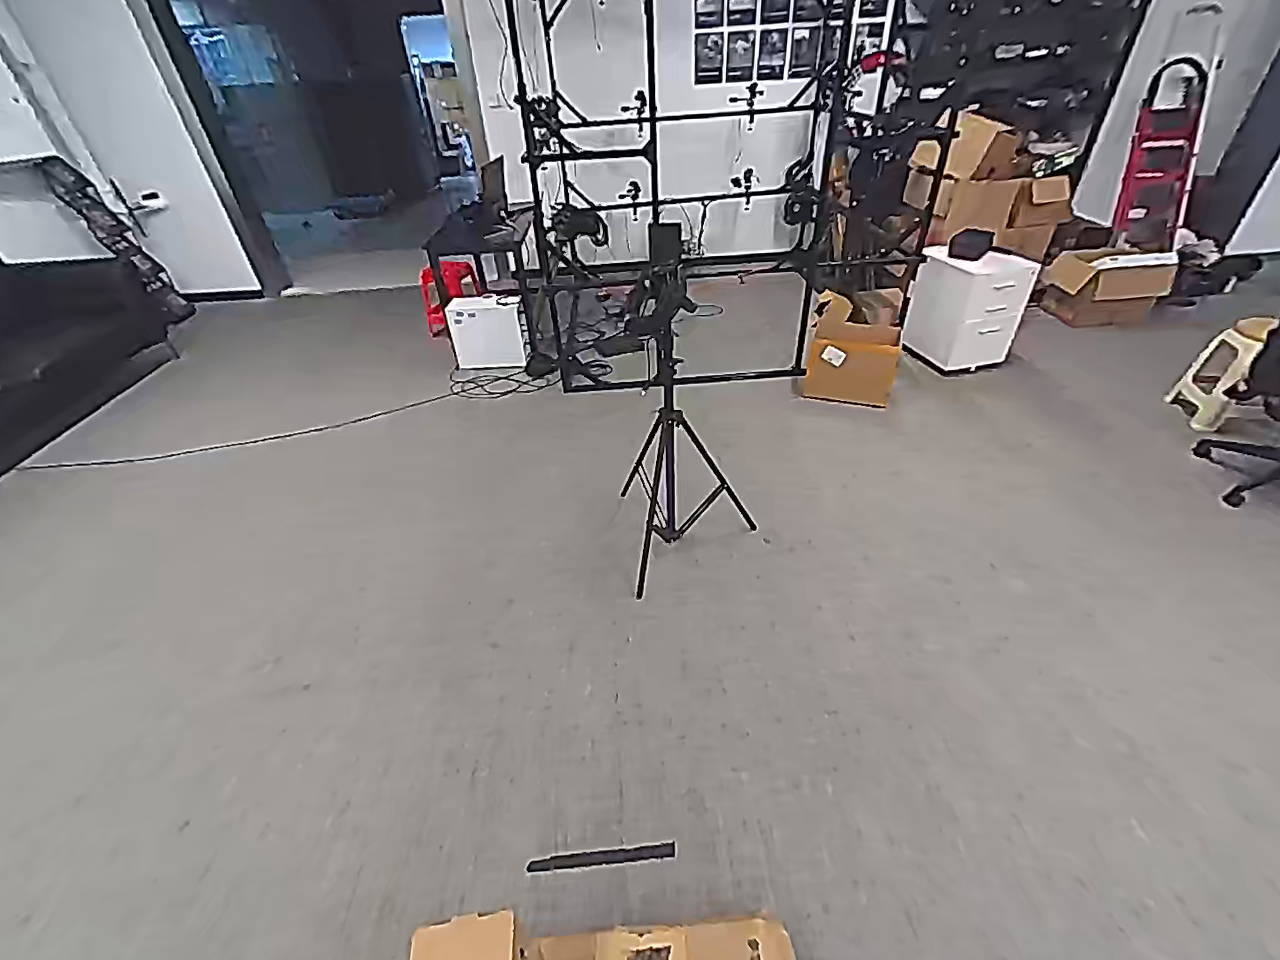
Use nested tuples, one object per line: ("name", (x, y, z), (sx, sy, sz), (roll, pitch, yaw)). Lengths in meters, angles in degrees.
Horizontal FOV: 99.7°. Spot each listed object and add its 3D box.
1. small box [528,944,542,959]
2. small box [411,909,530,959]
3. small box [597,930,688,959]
("small box", (-0.262, 0.967, 0.969), (0.168, 0.176, 0.179), (-3, 37, 0))
("small box", (-0.272, 0.837, 0.871), (0.168, 0.176, 0.179), (-7, 37, -6))
("small box", (0.006, 0.949, 0.976), (0.168, 0.176, 0.179), (-2, 37, 2))
